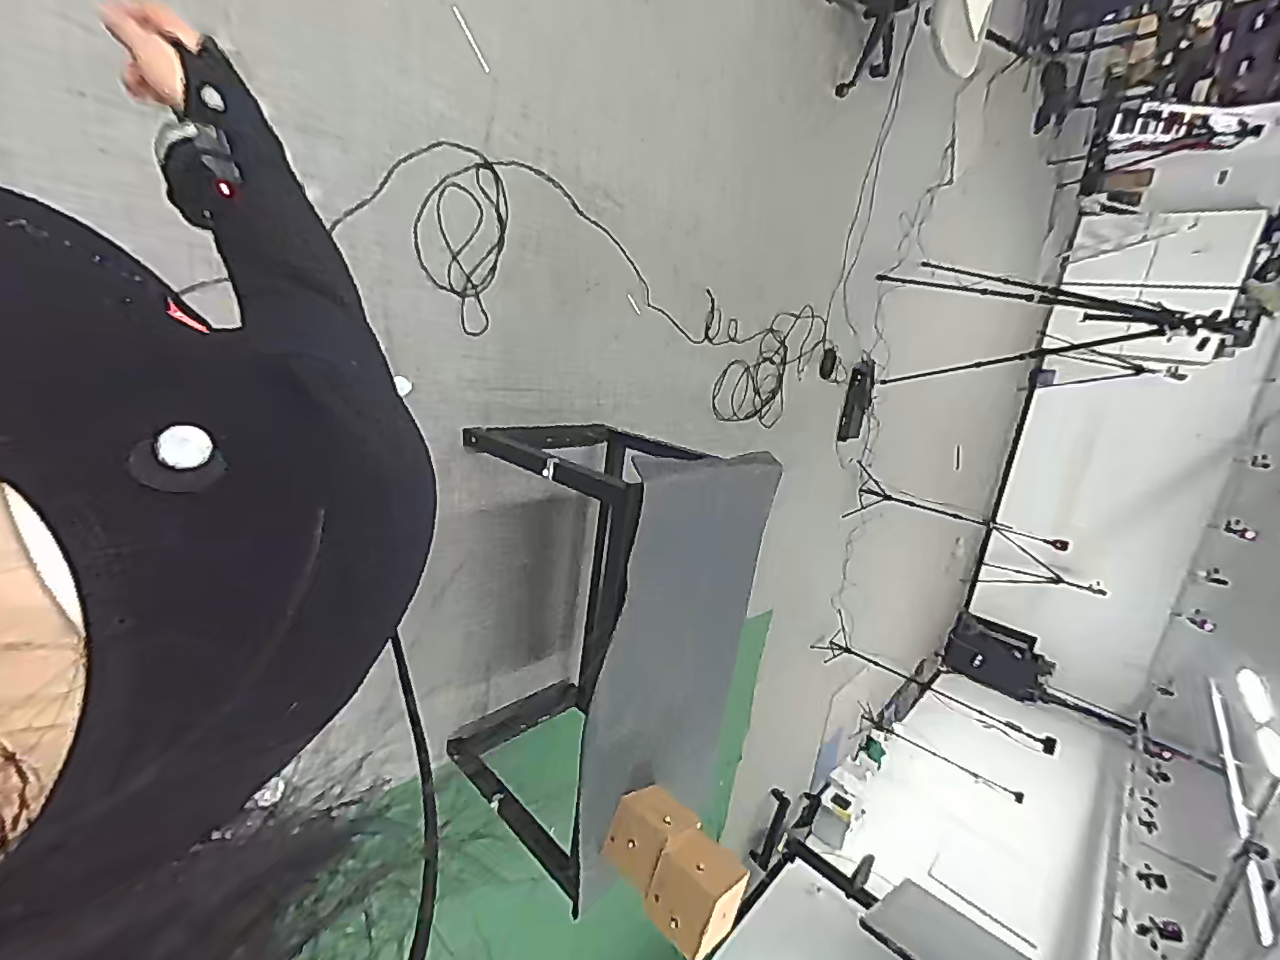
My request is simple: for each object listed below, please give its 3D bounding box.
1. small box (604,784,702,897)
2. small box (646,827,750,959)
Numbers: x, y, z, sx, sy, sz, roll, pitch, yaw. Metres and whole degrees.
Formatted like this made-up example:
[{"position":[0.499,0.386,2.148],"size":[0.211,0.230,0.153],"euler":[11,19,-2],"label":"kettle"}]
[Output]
[{"position":[0.032,0.948,1.442],"size":[0.179,0.176,0.168],"euler":[23,87,-52],"label":"small box"},{"position":[0.140,1.008,1.336],"size":[0.179,0.176,0.168],"euler":[15,94,-52],"label":"small box"}]
